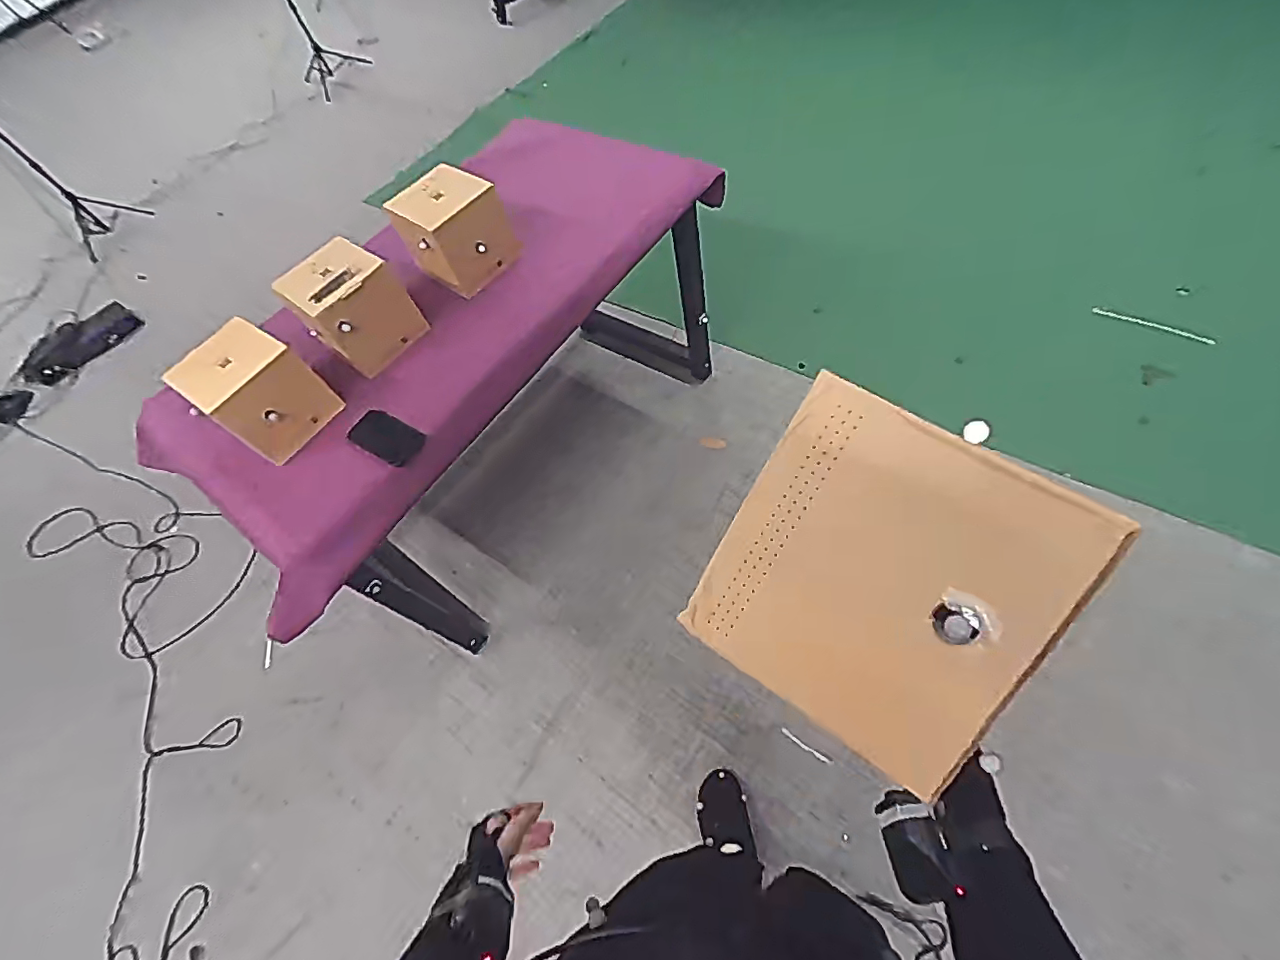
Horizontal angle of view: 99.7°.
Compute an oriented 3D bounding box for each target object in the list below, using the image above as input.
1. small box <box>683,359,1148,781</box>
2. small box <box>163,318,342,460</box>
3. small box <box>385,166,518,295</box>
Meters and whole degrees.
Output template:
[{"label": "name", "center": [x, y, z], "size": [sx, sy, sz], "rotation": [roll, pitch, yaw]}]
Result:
[{"label": "small box", "center": [0.155, 0.041, 0.359], "size": [0.176, 0.168, 0.179], "rotation": [33, 103, 19]}, {"label": "small box", "center": [-0.698, -0.160, 0.993], "size": [0.179, 0.176, 0.168], "rotation": [27, 68, 25]}, {"label": "small box", "center": [-0.390, -0.523, 1.149], "size": [0.179, 0.176, 0.168], "rotation": [34, 70, 27]}]
